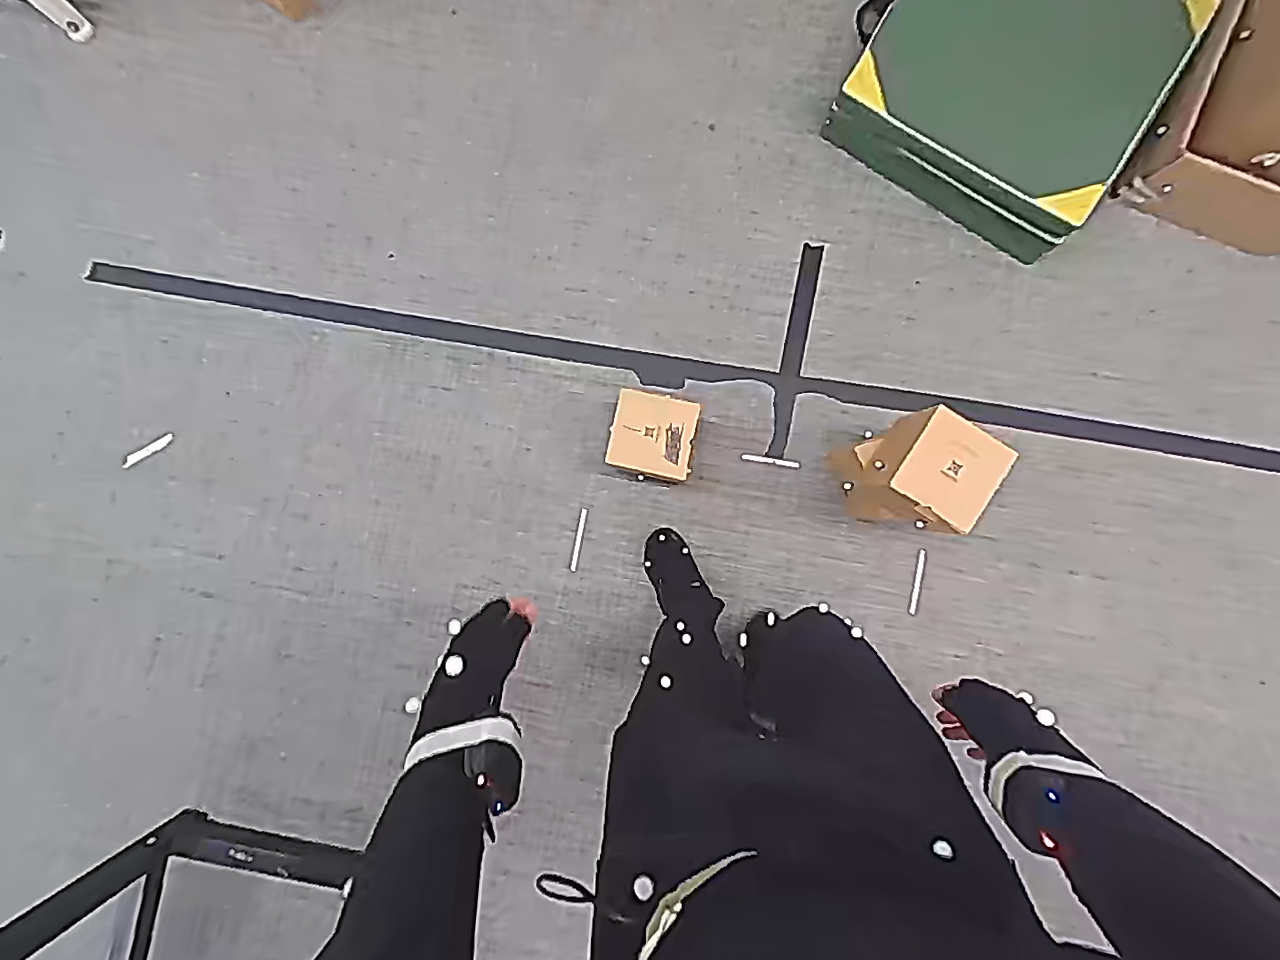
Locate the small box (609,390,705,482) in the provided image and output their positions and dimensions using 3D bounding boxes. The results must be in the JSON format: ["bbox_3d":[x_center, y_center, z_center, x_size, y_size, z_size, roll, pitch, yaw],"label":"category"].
[{"bbox_3d":[0.040,-0.091,1.213,0.179,0.176,0.168,12,88,4],"label":"small box"}]

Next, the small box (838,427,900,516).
[{"bbox_3d":[0.560,-0.025,1.193,0.179,0.176,0.168,-23,87,0],"label":"small box"}]

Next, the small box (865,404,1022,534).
[{"bbox_3d":[0.557,-0.017,1.027,0.168,0.176,0.179,33,89,1],"label":"small box"}]
